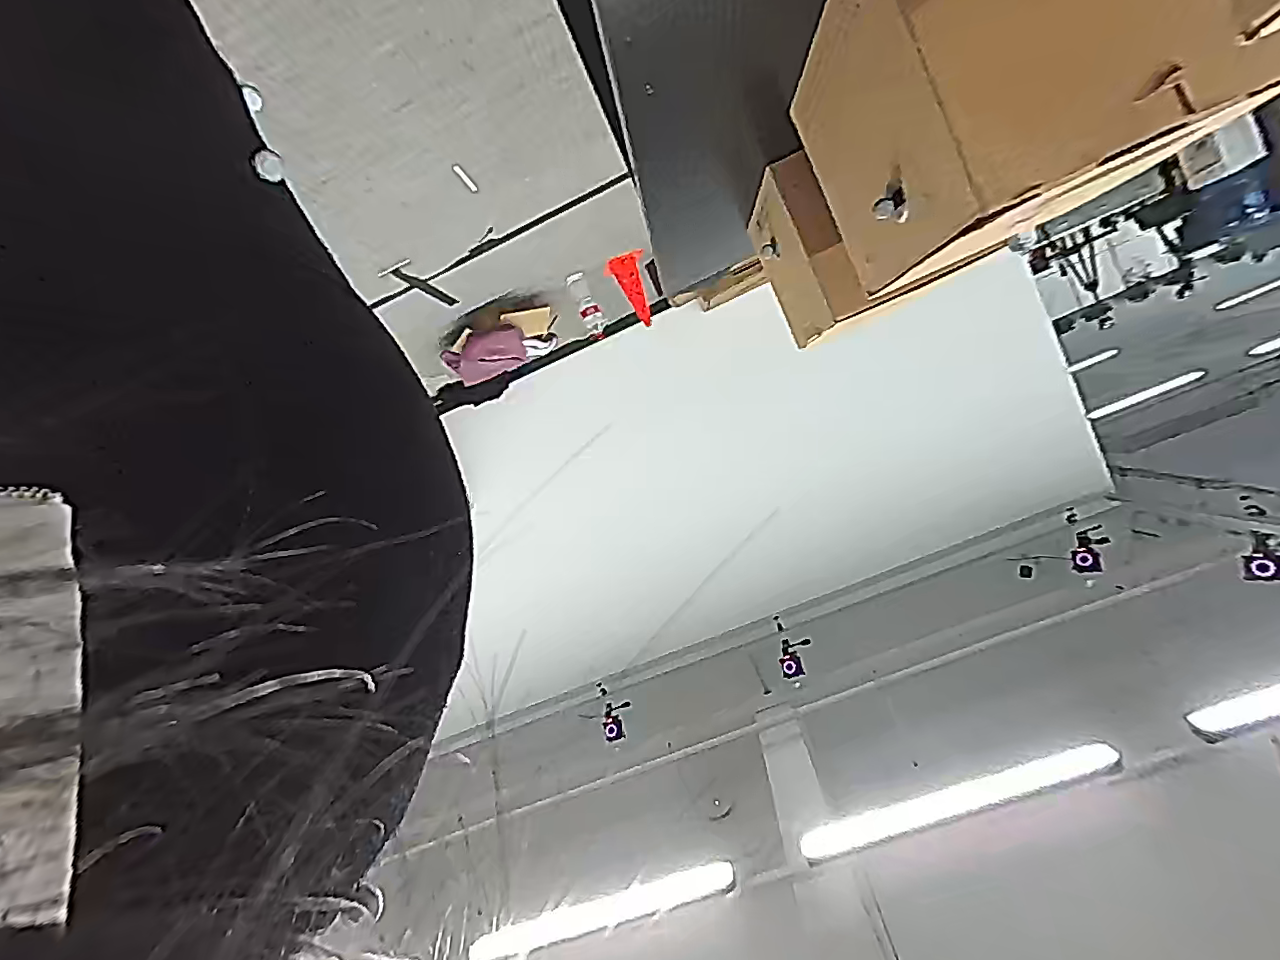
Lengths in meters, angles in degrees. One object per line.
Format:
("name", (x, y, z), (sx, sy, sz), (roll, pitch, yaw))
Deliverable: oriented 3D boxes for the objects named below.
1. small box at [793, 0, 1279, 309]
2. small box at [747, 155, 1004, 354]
("small box", (0.218, -0.242, 0.350), (0.168, 0.176, 0.179), (-24, -178, 5))
("small box", (0.239, -0.262, 0.593), (0.179, 0.176, 0.168), (-24, -178, 6))
